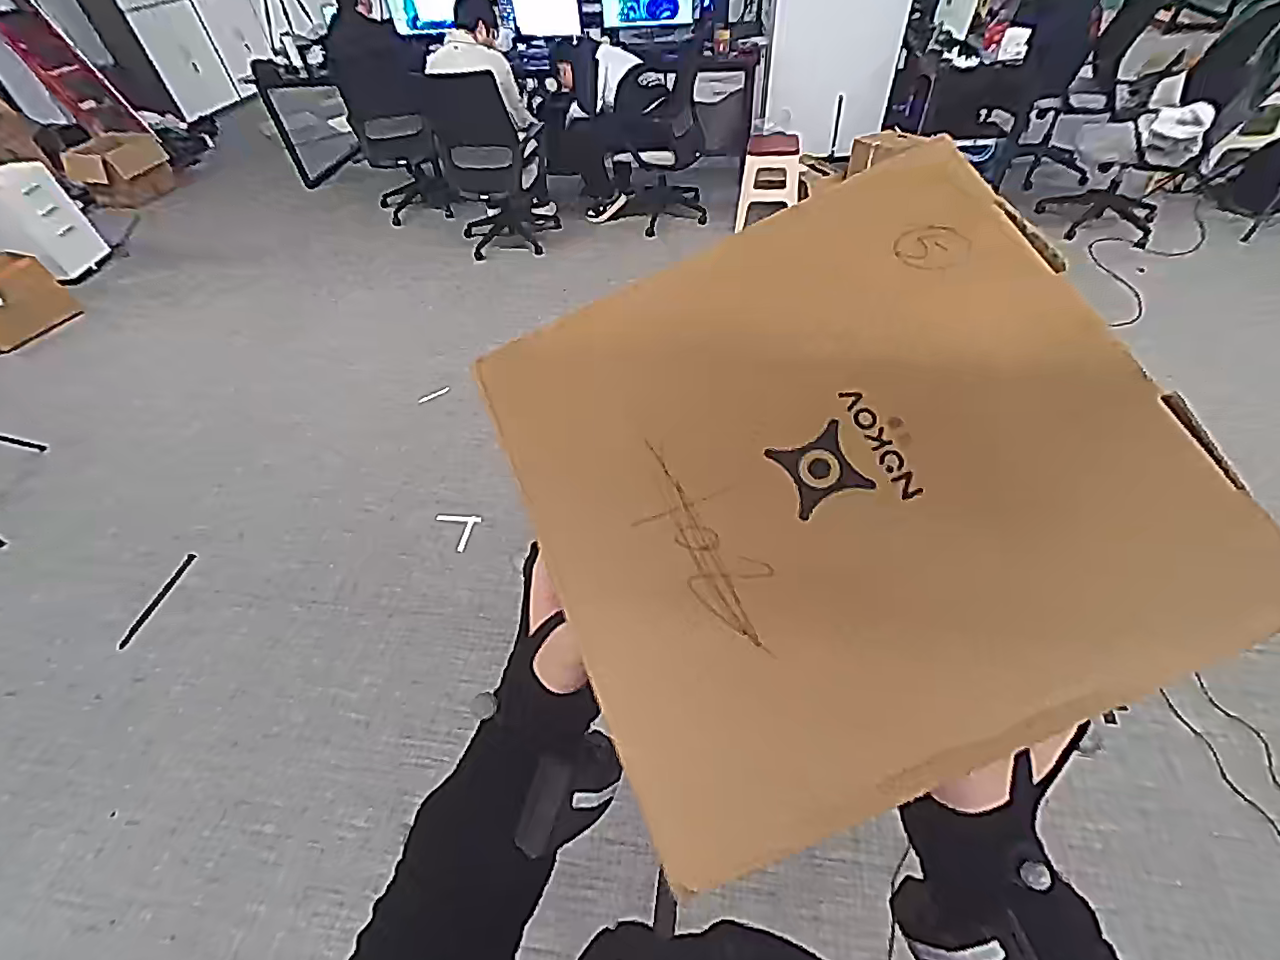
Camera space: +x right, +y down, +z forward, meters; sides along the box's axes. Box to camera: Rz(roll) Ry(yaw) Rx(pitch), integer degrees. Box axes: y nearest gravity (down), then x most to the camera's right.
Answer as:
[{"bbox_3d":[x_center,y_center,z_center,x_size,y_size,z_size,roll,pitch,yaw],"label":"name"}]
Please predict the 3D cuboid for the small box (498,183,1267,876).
[{"bbox_3d":[0.069,0.022,0.244,0.179,0.176,0.168,-26,72,2],"label":"small box"}]
